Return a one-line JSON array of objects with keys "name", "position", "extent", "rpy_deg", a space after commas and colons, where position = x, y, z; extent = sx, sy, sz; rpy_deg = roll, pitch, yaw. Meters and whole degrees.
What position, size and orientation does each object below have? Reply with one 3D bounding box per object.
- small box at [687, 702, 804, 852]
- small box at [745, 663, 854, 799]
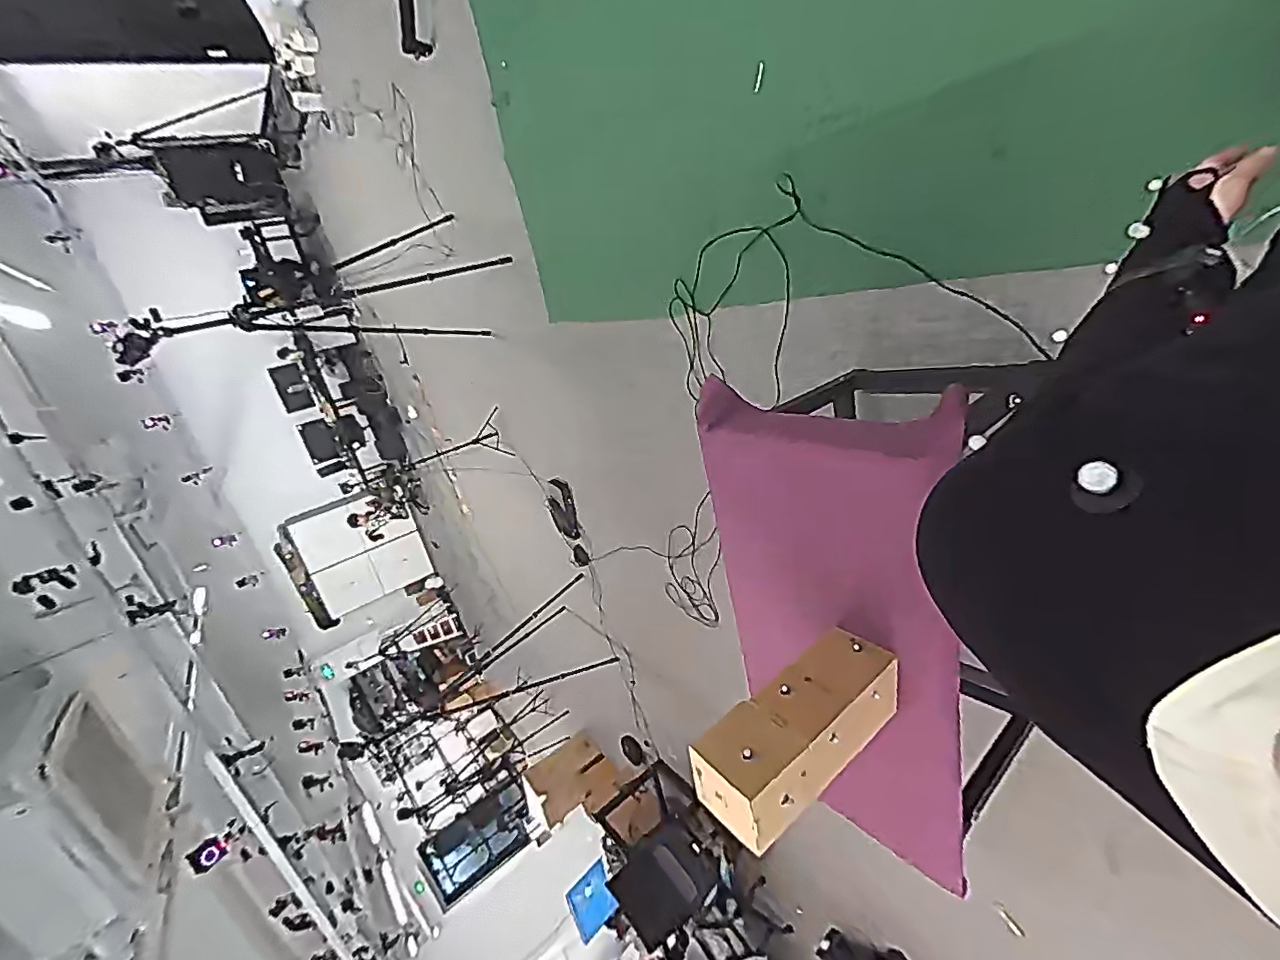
[{"name": "small box", "position": [0.224, 0.599, 1.117], "extent": [0.179, 0.176, 0.168], "rpy_deg": [20, 127, 50]}, {"name": "small box", "position": [0.355, 0.542, 1.195], "extent": [0.168, 0.176, 0.179], "rpy_deg": [21, 128, 50]}]
